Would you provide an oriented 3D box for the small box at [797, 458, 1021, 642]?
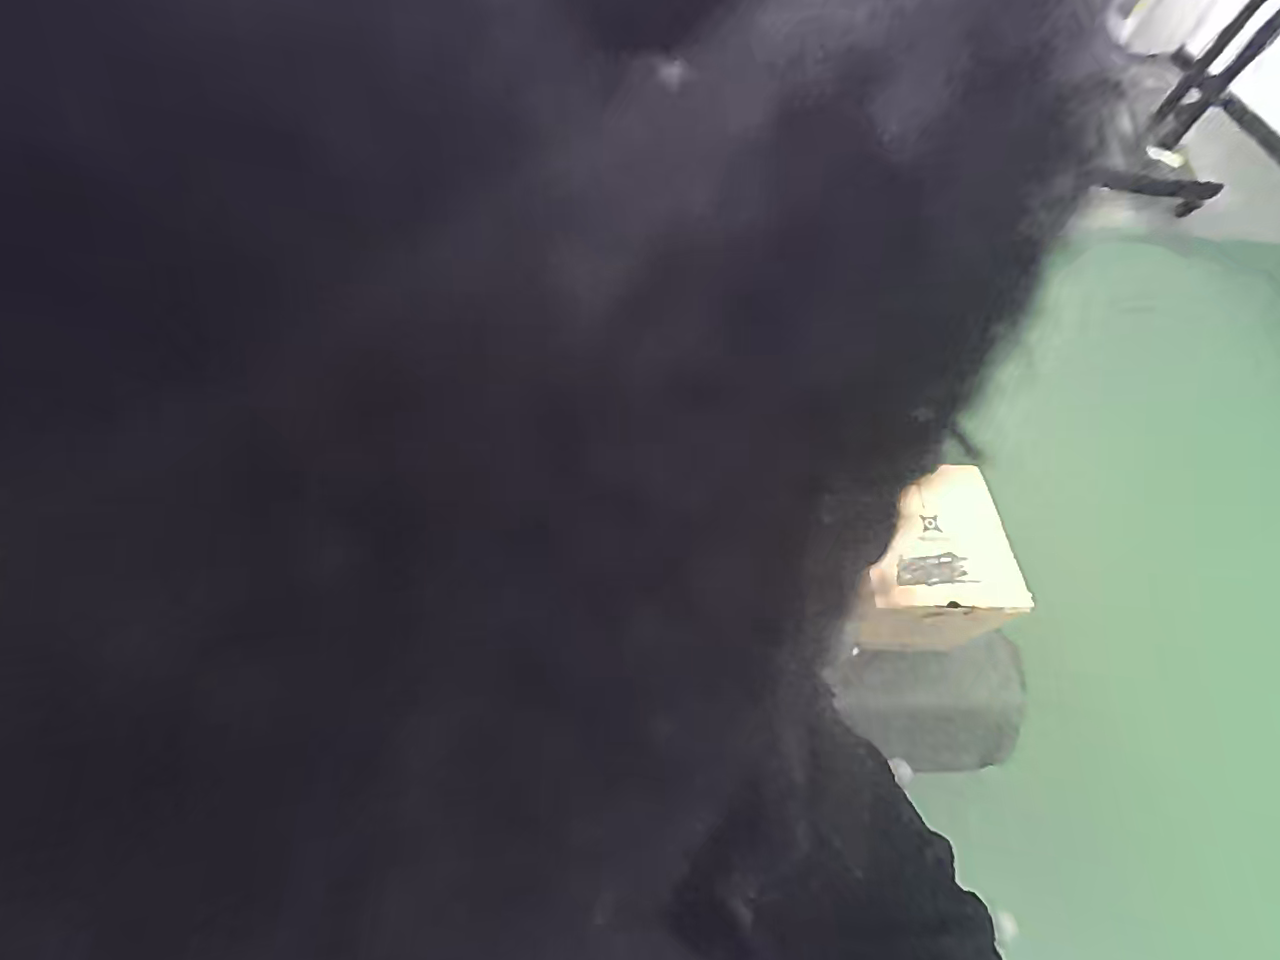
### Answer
[{"bbox_3d":[0.305,0.092,0.659,0.168,0.176,0.179,2,58,-3],"label":"small box"}]
